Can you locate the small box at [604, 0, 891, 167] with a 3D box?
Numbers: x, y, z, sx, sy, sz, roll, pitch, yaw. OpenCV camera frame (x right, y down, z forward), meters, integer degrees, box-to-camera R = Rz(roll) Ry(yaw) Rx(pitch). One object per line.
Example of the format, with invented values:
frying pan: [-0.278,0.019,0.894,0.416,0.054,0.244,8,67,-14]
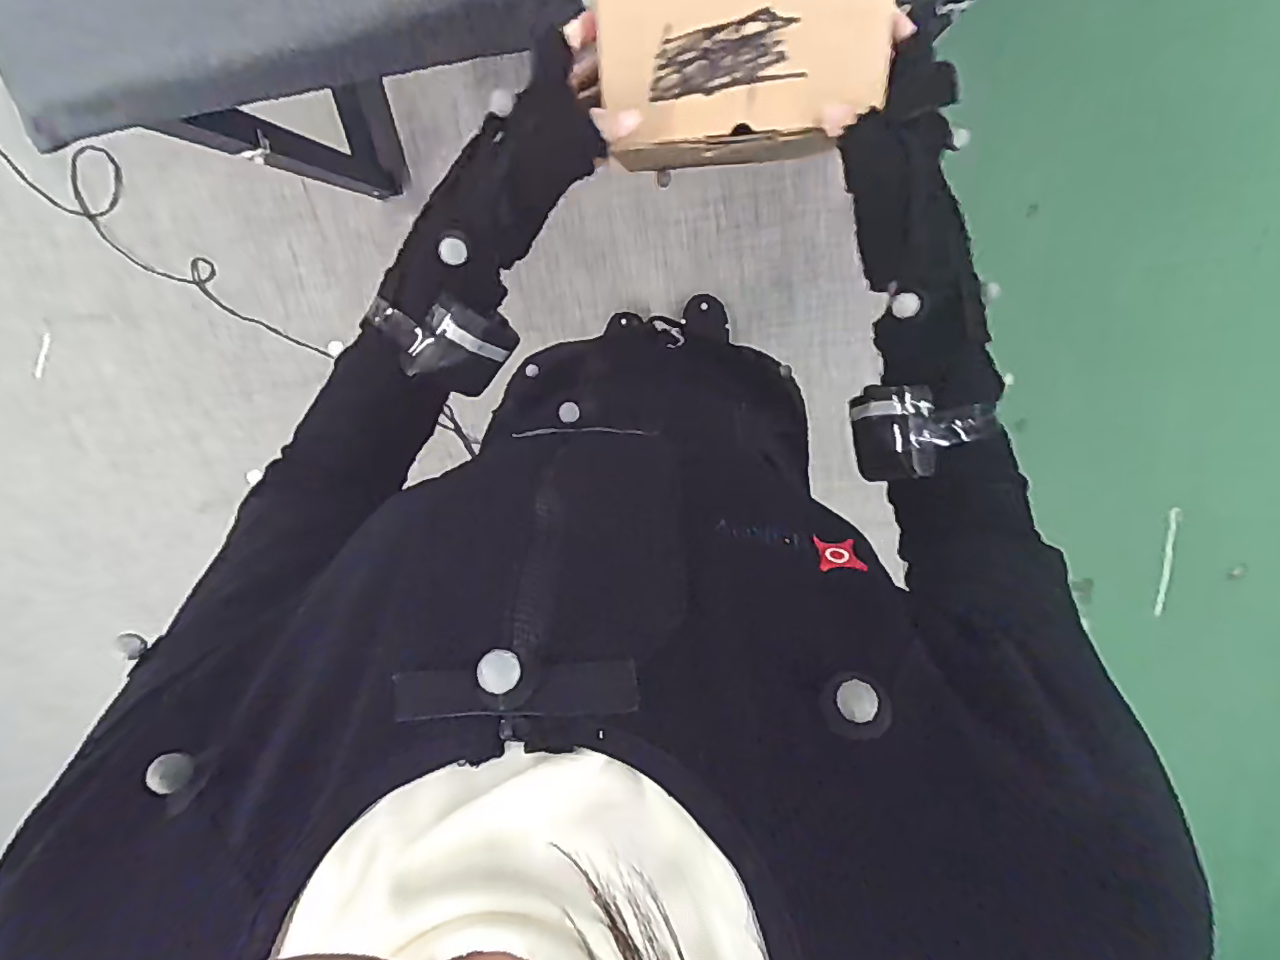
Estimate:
small box: [0.065,-0.322,0.373,0.168,0.176,0.179,-1,115,3]
